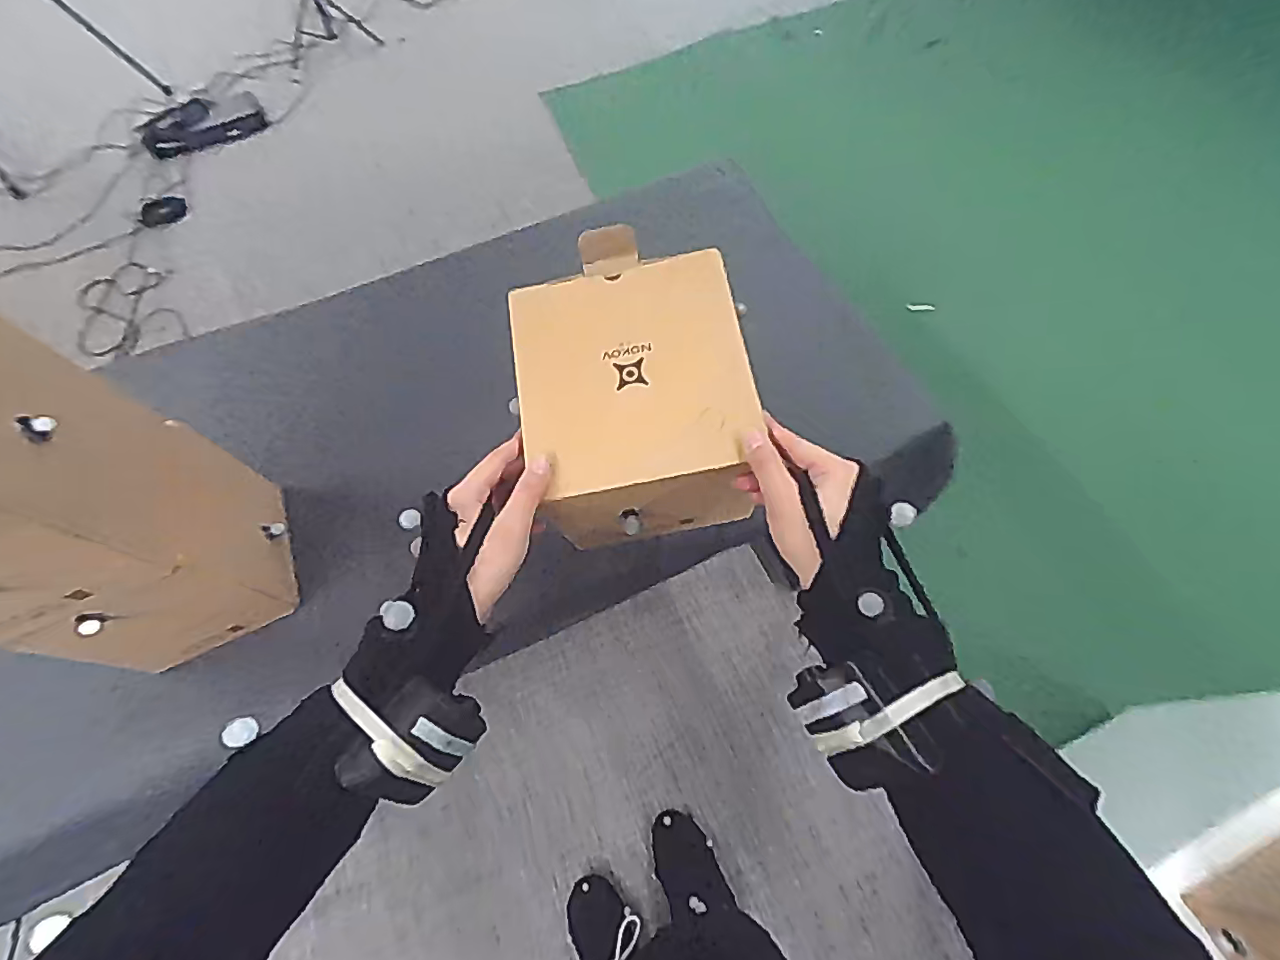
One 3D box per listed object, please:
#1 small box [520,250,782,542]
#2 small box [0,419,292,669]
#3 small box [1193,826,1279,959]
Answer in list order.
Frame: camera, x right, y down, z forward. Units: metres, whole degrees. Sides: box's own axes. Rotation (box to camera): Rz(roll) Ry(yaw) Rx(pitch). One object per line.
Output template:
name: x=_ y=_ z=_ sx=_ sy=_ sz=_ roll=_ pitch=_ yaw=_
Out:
small box: x=0.009 y=-0.052 z=0.454 sx=0.168 sy=0.176 sz=0.179 roll=-10 pitch=71 yaw=2
small box: x=-0.505 y=0.074 z=0.570 sx=0.168 sy=0.176 sz=0.179 roll=-24 pitch=63 yaw=-9
small box: x=0.647 y=0.418 z=0.458 sx=0.179 sy=0.176 sz=0.168 roll=-22 pitch=64 yaw=-9
